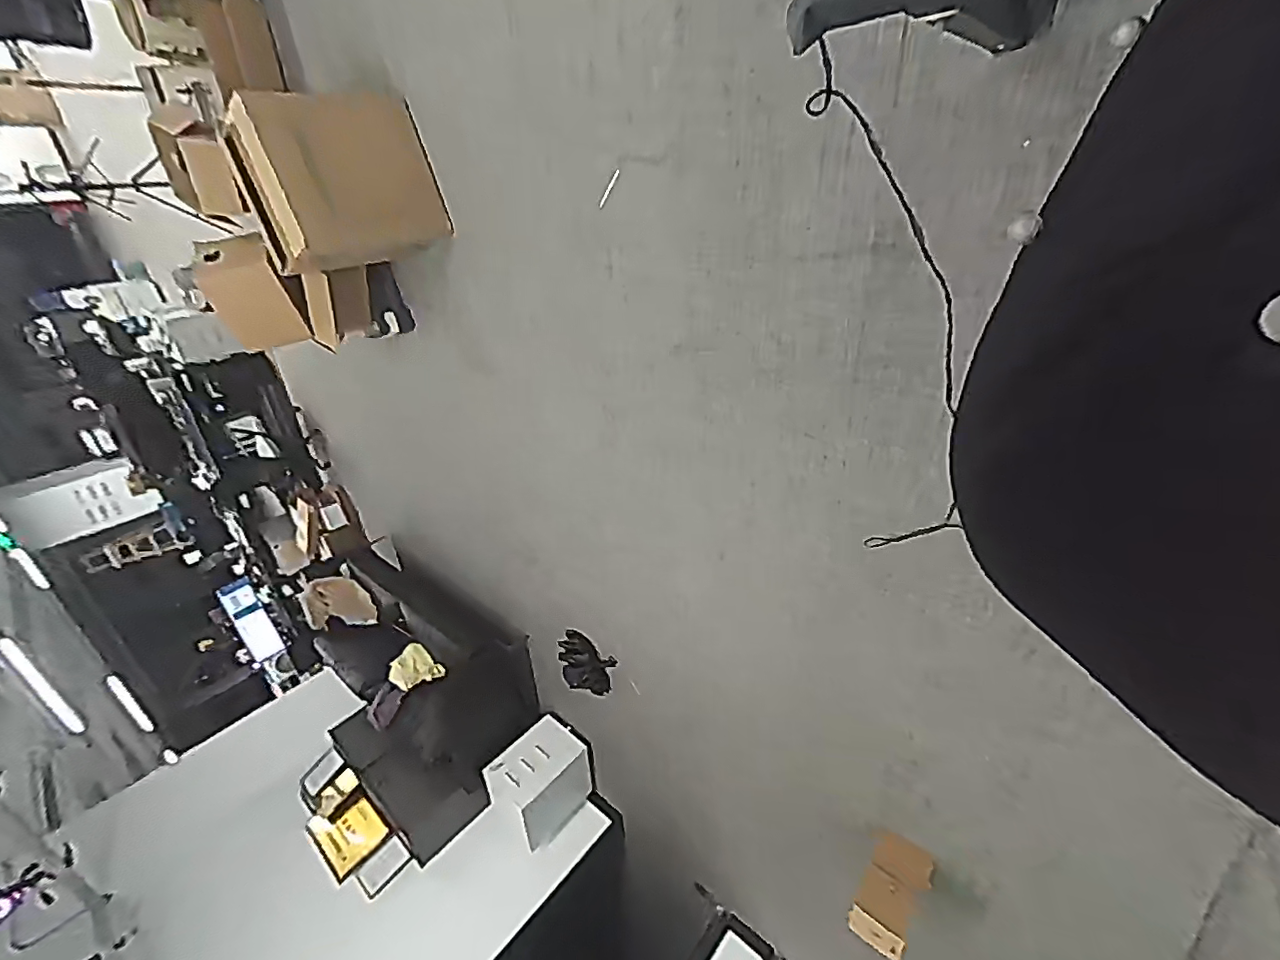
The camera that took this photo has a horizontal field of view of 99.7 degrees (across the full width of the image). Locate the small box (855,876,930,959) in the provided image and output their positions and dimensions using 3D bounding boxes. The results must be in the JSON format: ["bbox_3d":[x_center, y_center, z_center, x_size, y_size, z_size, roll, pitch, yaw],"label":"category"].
[{"bbox_3d":[0.880,1.534,1.886,0.179,0.176,0.168,22,127,37],"label":"small box"}]

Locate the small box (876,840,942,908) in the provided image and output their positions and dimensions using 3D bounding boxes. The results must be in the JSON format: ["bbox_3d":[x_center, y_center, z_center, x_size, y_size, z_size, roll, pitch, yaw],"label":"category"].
[{"bbox_3d":[0.988,1.480,1.996,0.179,0.176,0.168,19,126,36],"label":"small box"}]
